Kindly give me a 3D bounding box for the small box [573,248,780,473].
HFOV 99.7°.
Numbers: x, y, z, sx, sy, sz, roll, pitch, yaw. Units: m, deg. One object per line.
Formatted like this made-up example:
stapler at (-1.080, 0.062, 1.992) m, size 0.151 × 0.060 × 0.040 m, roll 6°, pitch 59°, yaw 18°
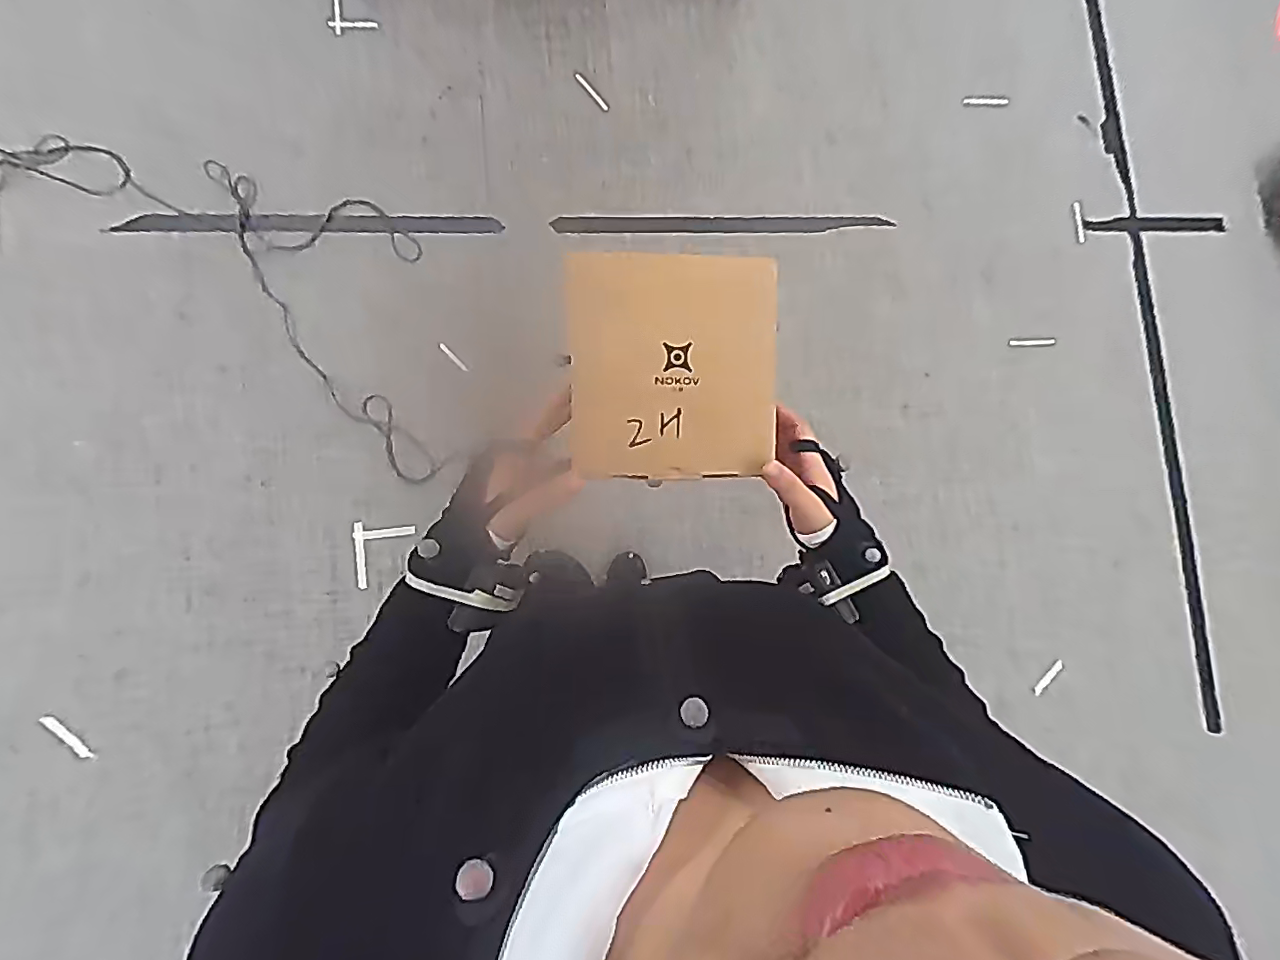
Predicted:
small box at (0.021, -0.096, 0.506) m, size 0.168 × 0.176 × 0.179 m, roll -1°, pitch 93°, yaw -6°
